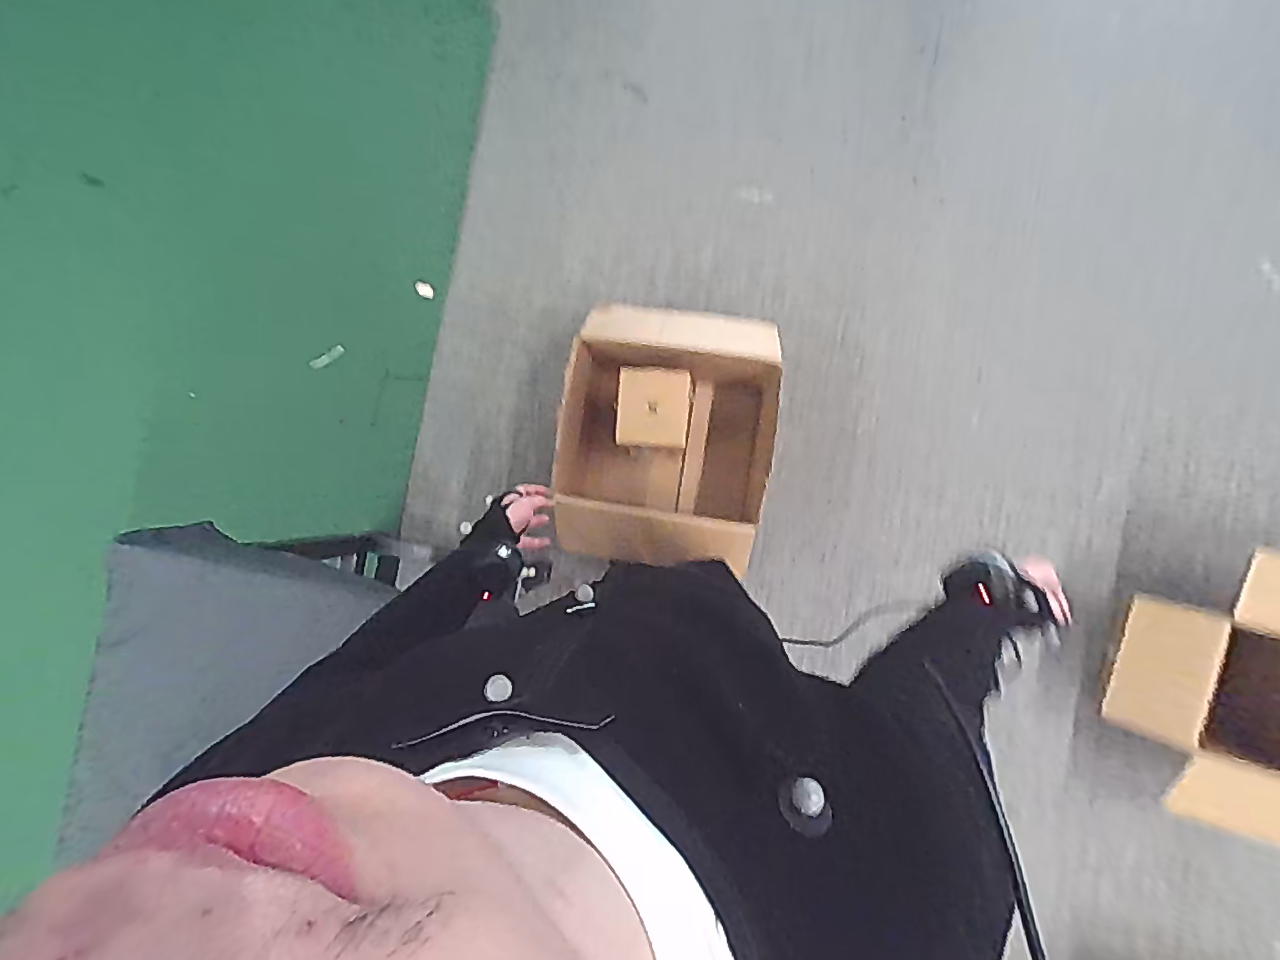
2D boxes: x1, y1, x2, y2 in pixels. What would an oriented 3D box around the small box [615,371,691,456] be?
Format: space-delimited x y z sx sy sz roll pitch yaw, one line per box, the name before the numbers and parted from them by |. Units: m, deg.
small box | 0.031 -0.157 1.318 0.168 0.176 0.179 4 88 2
